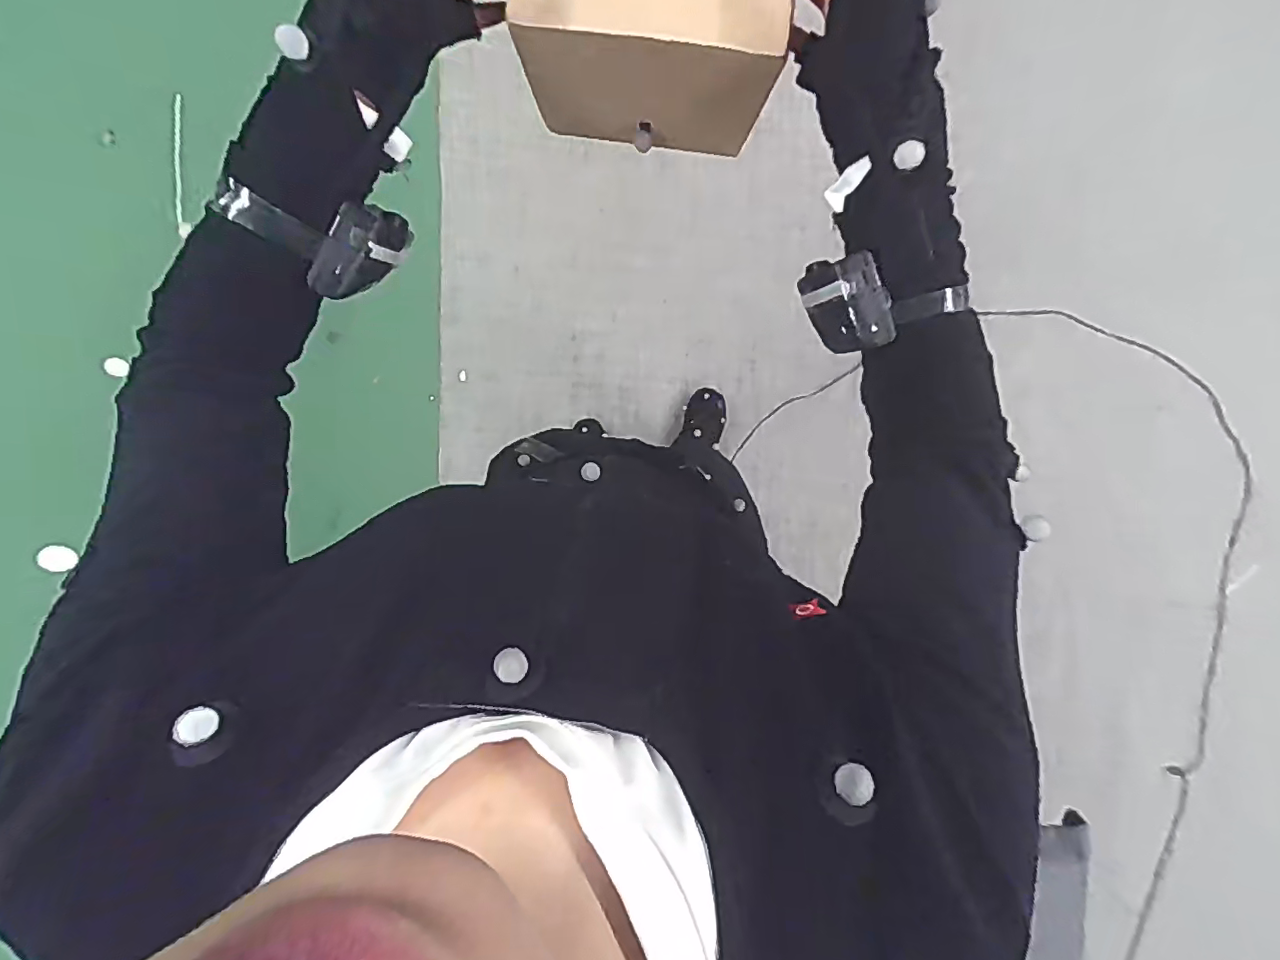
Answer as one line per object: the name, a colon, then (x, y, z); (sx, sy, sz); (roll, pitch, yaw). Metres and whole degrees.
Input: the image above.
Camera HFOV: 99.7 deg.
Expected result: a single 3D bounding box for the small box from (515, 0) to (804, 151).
small box: (0.017, -0.365, 0.392); (0.179, 0.176, 0.168); (6, 101, -3)
